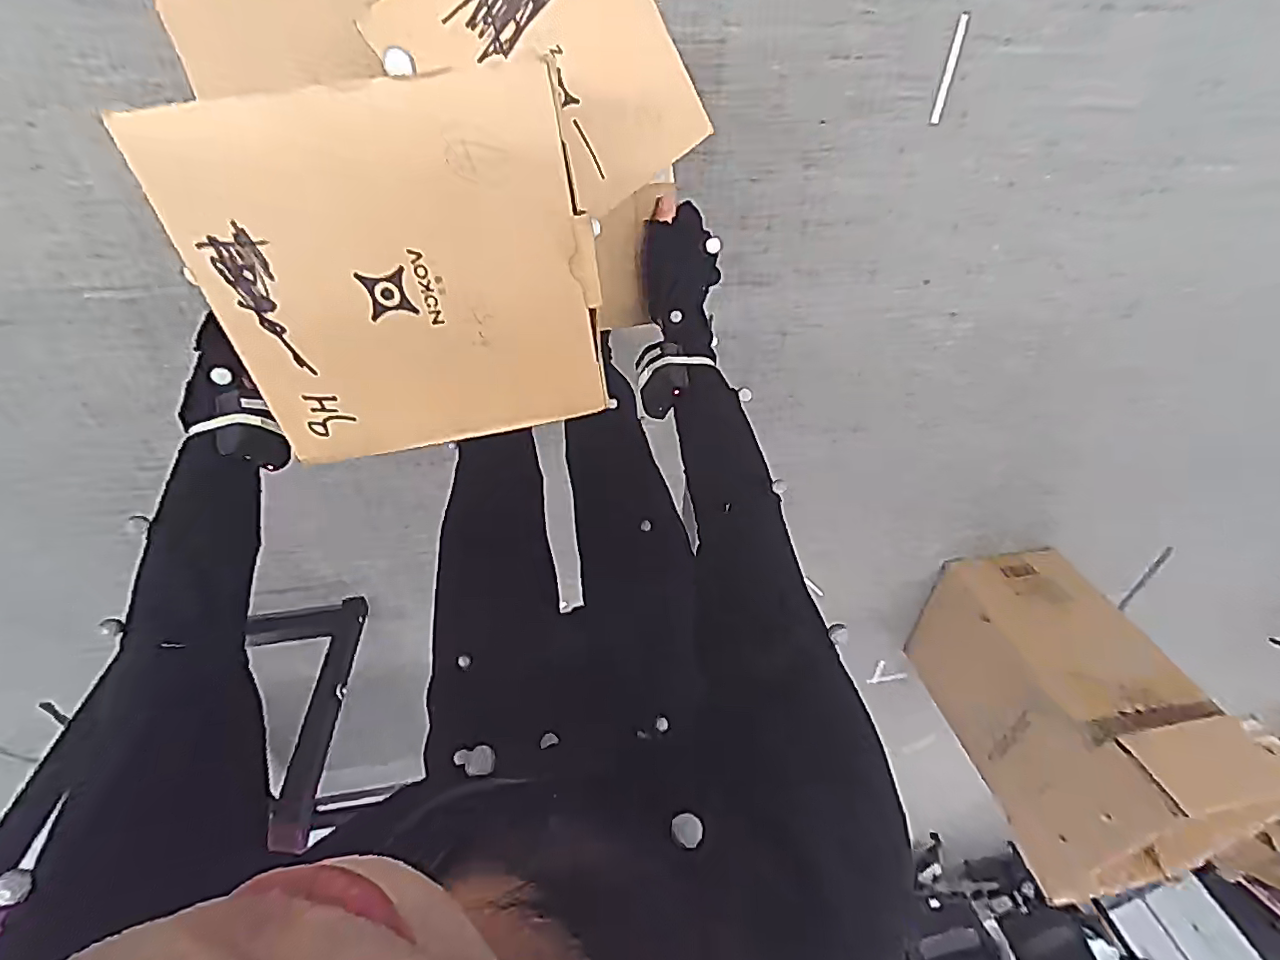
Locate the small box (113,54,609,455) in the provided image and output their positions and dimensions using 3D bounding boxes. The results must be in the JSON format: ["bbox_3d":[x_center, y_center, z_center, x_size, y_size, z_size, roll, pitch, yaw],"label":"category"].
[{"bbox_3d":[-0.125,-0.140,0.322,0.179,0.176,0.168,-11,126,-5],"label":"small box"}]

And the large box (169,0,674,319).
[{"bbox_3d":[-0.197,-0.373,0.649,0.408,0.320,0.320,-11,126,-7],"label":"large box"}]
